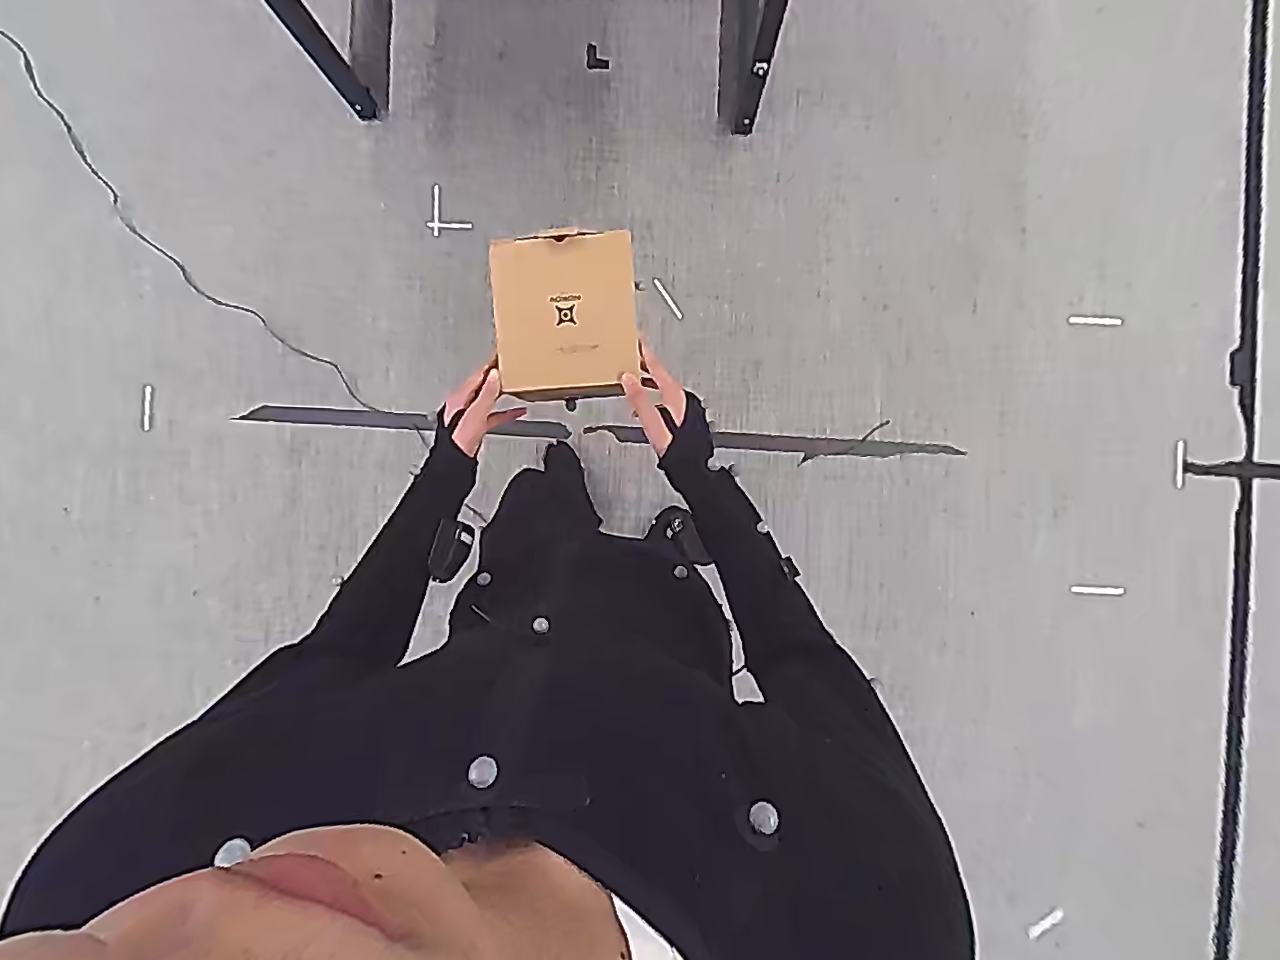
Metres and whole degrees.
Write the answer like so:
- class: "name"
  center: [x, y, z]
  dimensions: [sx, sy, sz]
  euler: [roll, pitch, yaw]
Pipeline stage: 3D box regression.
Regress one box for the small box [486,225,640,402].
- class: "small box"
  center: [-0.089, -0.202, 0.697]
  dimensions: [0.168, 0.176, 0.179]
  euler: [-5, 93, 1]
